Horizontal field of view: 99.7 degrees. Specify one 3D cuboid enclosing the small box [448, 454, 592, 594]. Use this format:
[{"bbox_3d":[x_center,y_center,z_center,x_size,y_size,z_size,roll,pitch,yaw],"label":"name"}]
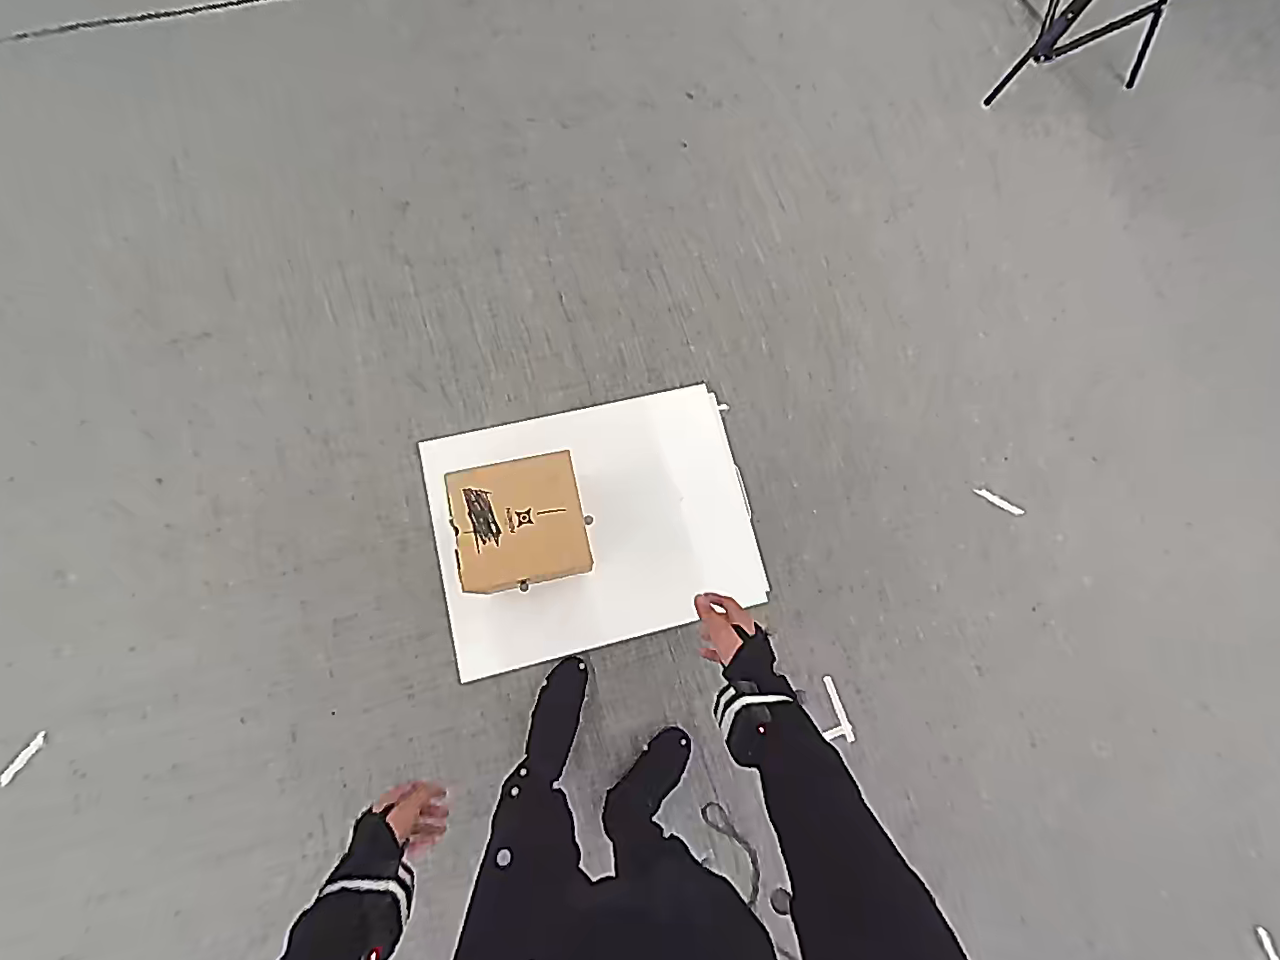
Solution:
[{"bbox_3d":[-0.171,0.073,0.811,0.179,0.176,0.168,-11,79,-9],"label":"small box"}]
